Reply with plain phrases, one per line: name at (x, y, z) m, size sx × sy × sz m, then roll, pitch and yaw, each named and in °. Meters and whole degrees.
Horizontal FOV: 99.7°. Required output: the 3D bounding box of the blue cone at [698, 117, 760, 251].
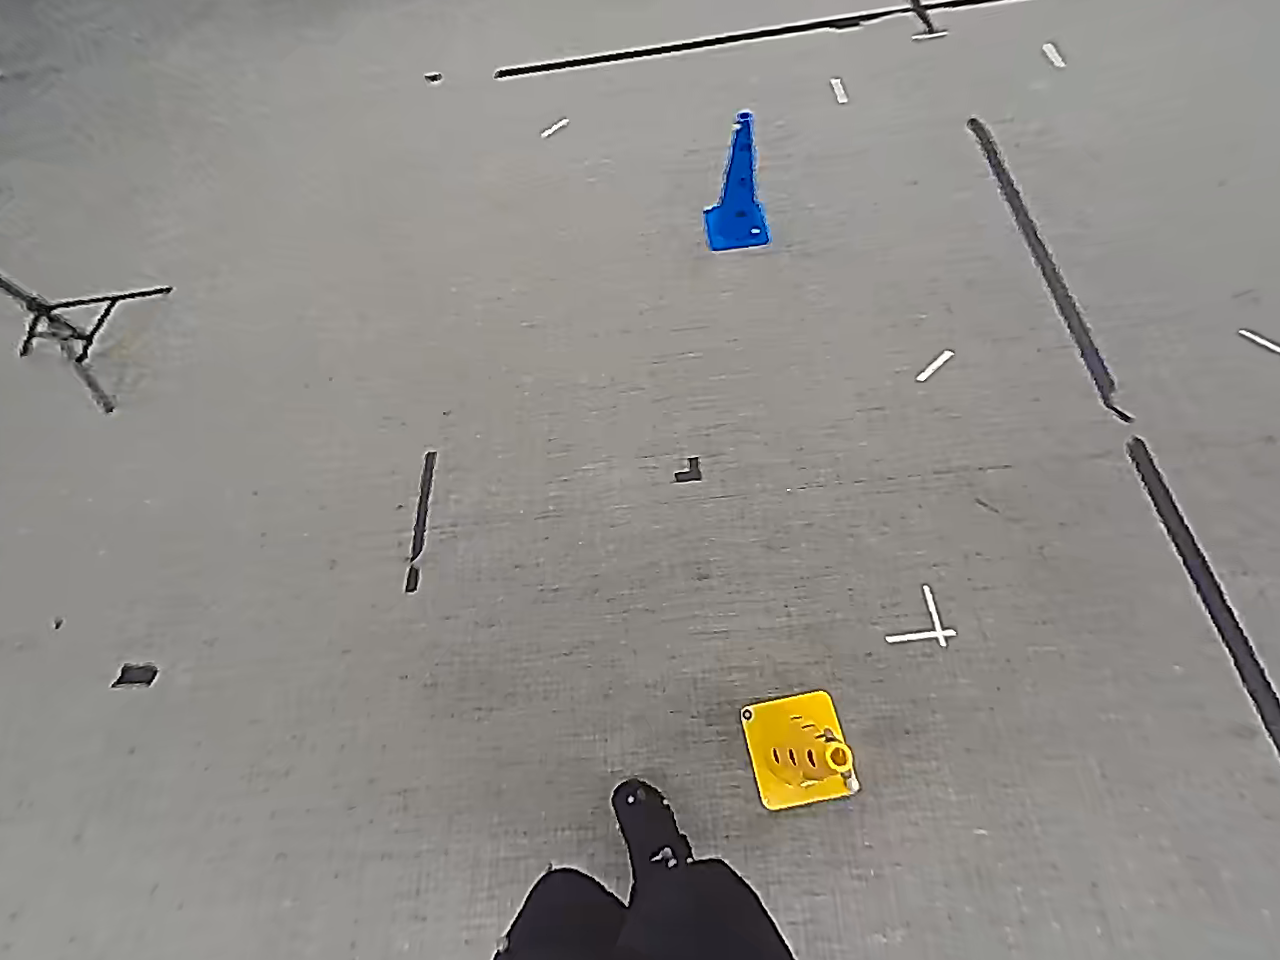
blue cone at (0.277, -0.905, 1.640) m, size 0.192 × 0.380 × 0.193 m, roll -6°, pitch 64°, yaw 4°
